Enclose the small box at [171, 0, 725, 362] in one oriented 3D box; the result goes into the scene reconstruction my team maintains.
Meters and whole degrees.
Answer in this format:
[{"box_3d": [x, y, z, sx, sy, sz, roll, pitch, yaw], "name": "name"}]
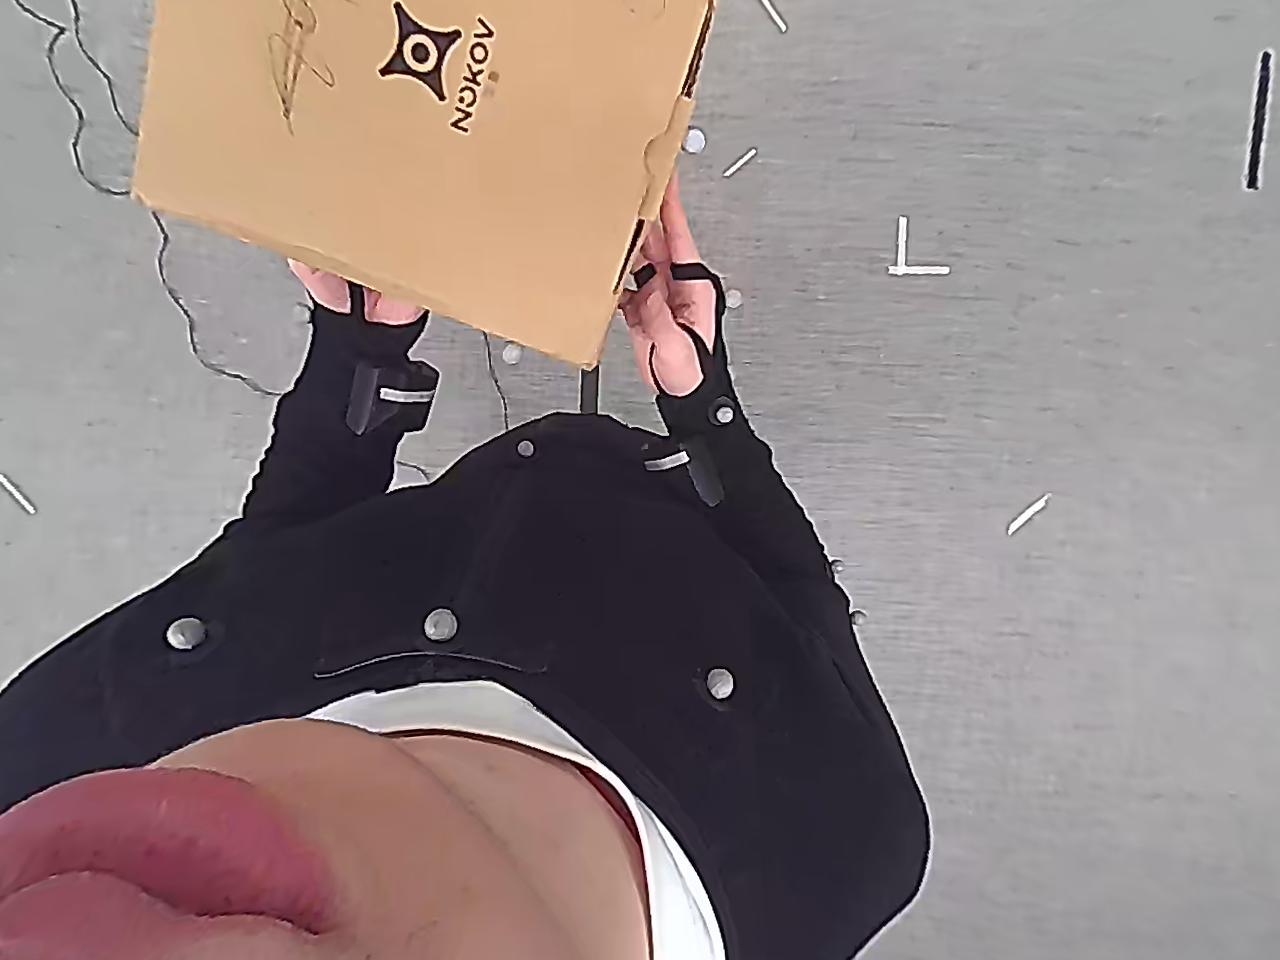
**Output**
[{"box_3d": [-0.077, -0.171, 0.279, 0.179, 0.176, 0.168, 18, 101, -8], "name": "small box"}]
